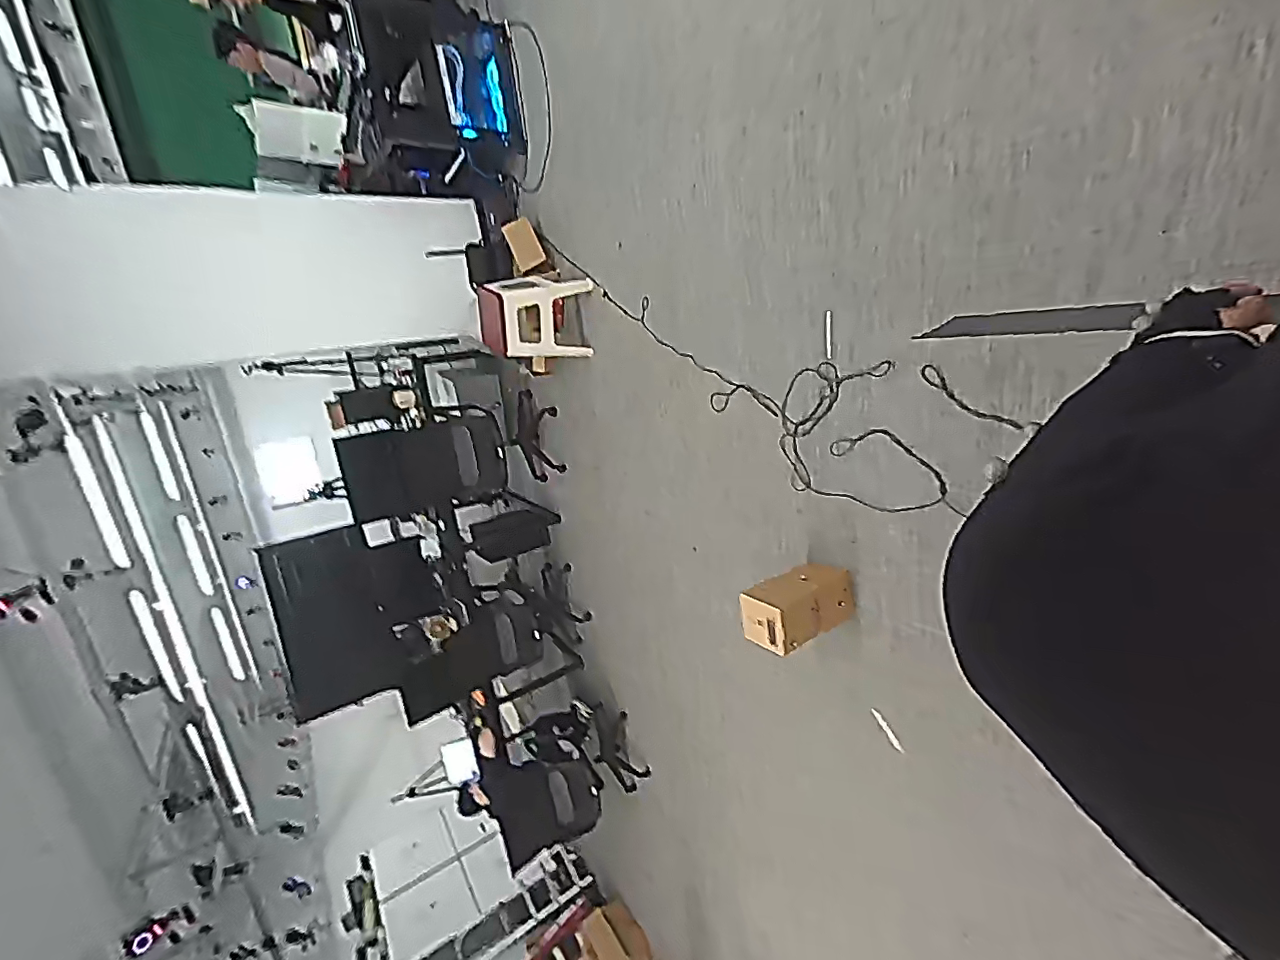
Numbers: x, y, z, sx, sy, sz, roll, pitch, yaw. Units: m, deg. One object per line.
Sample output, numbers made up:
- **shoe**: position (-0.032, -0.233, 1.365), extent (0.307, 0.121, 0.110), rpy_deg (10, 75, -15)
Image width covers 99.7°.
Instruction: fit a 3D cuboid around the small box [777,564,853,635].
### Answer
- **small box**: position (0.592, 0.396, 1.830), extent (0.179, 0.176, 0.168), rpy_deg (5, 109, 57)
